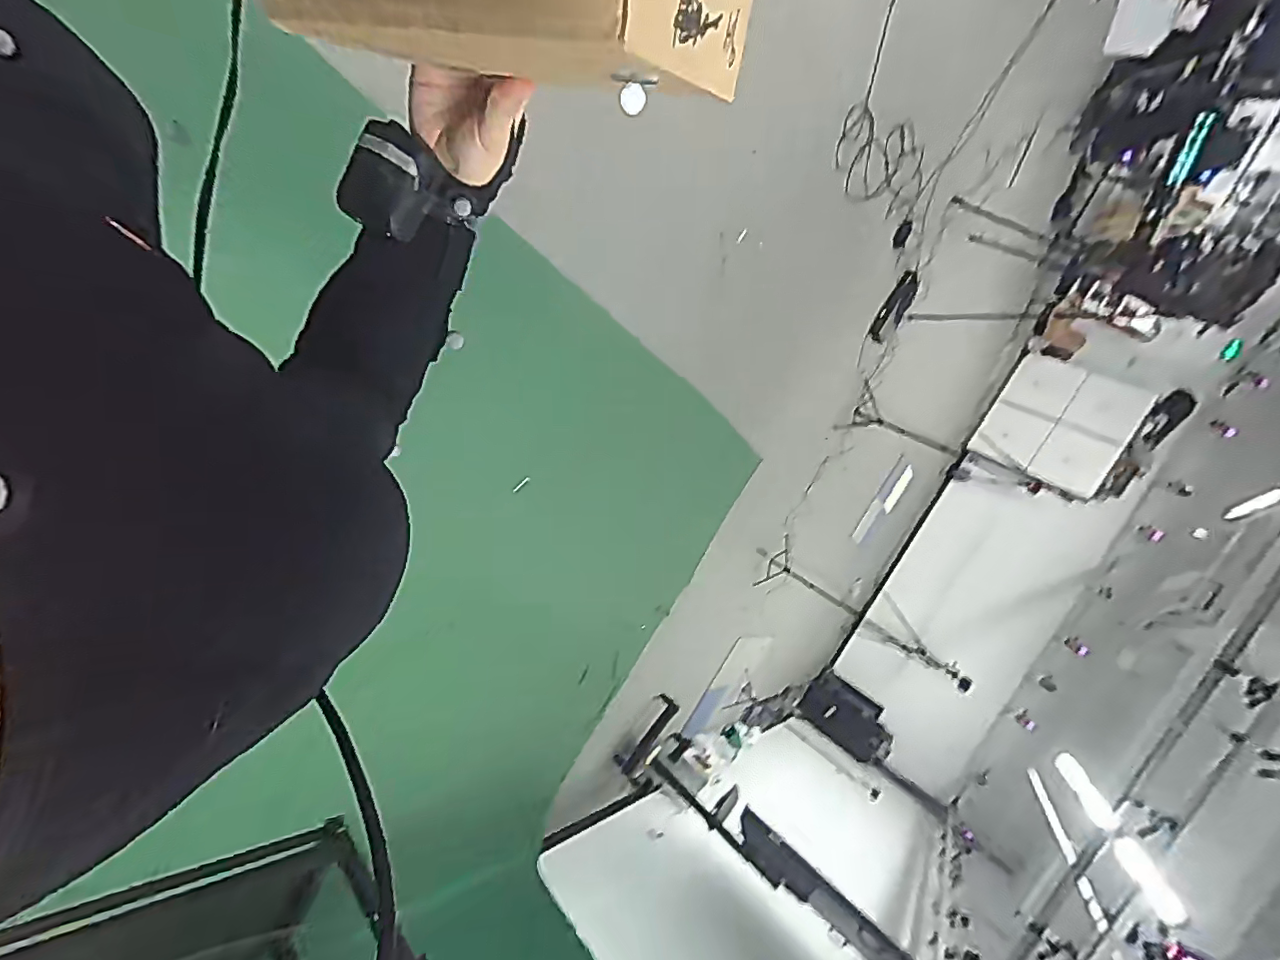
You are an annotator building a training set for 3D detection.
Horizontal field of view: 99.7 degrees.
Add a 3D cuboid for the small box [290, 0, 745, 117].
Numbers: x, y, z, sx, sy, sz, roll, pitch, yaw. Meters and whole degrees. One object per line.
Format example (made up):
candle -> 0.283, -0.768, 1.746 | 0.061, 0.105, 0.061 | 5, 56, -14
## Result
small box -> -0.046, -0.279, 0.241 | 0.168, 0.176, 0.179 | -51, 152, -54
